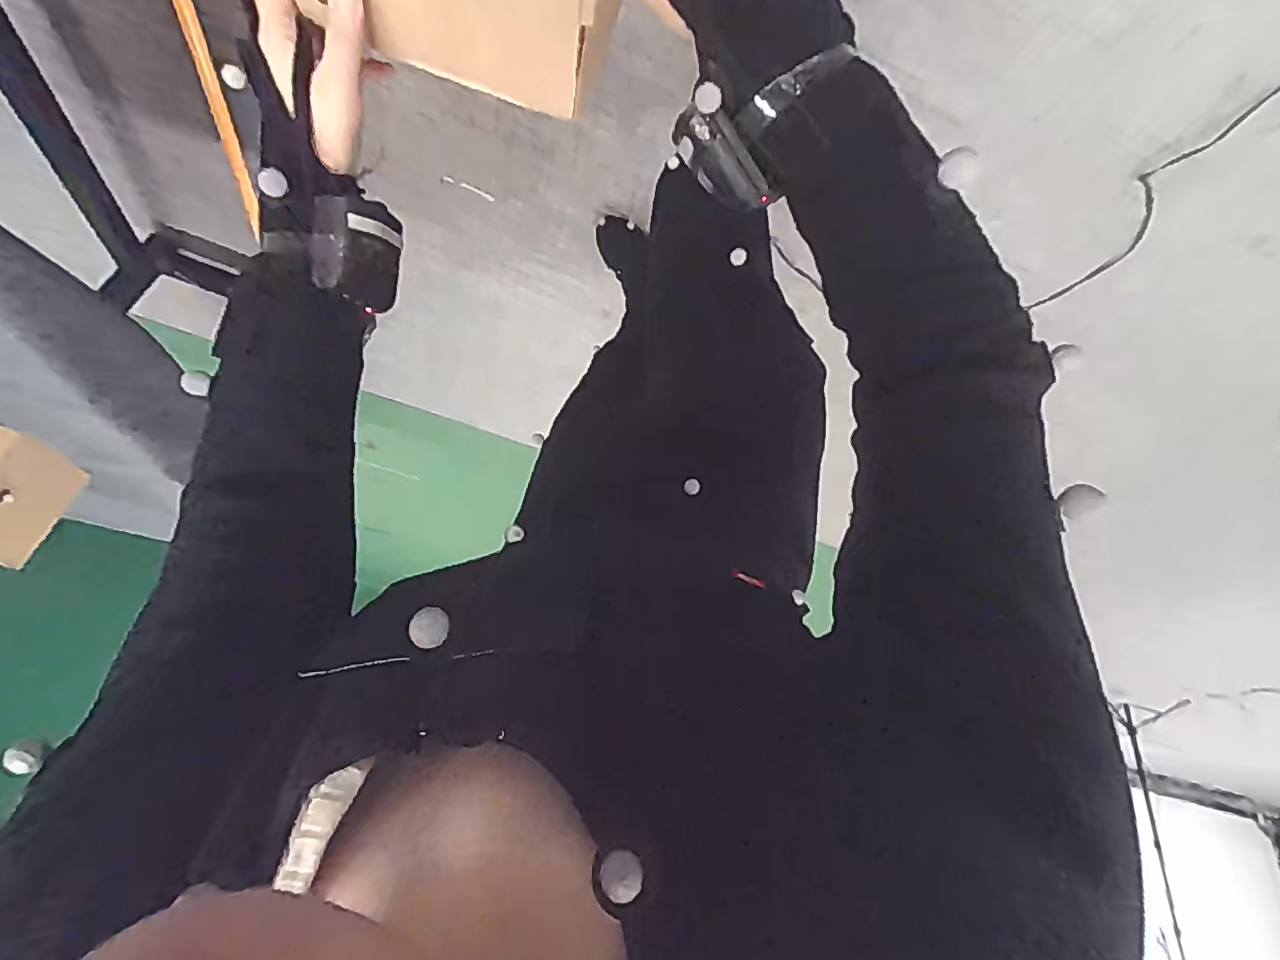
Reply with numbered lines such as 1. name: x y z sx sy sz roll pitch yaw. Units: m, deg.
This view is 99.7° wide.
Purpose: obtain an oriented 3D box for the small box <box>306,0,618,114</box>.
1. small box: -0.085 -0.358 0.293 0.179 0.176 0.168 16 160 -8

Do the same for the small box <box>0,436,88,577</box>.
1. small box: -0.968 0.017 0.767 0.168 0.176 0.179 20 151 -11
